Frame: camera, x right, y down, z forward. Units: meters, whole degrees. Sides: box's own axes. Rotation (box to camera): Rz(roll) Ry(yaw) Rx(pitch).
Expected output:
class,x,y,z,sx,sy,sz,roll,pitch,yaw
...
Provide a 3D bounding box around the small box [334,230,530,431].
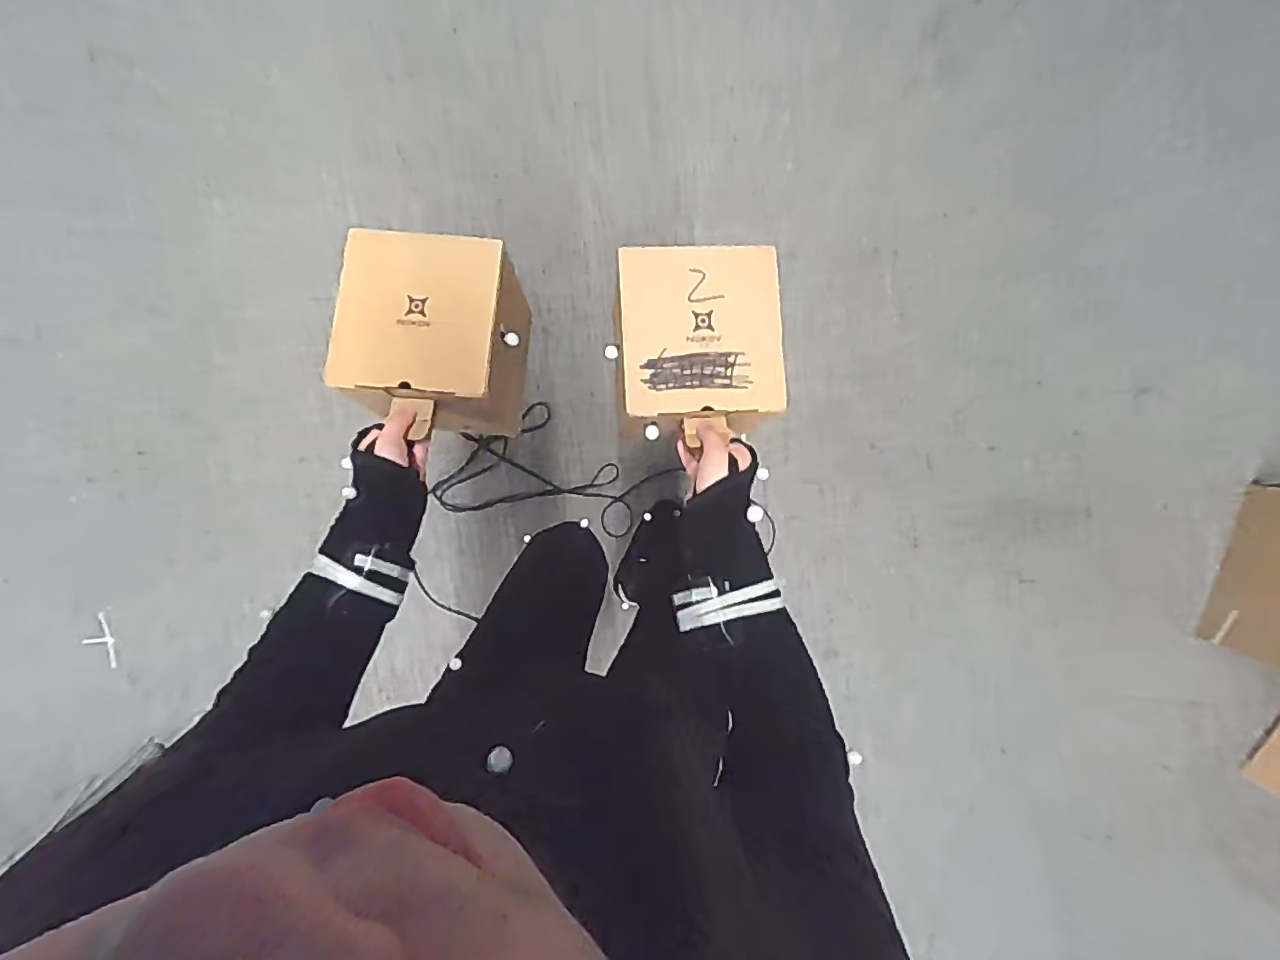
class,x,y,z,sx,sy,sz,roll,pitch,yaw
small box,-0.234,-0.169,0.655,0.168,0.176,0.179,4,82,0
